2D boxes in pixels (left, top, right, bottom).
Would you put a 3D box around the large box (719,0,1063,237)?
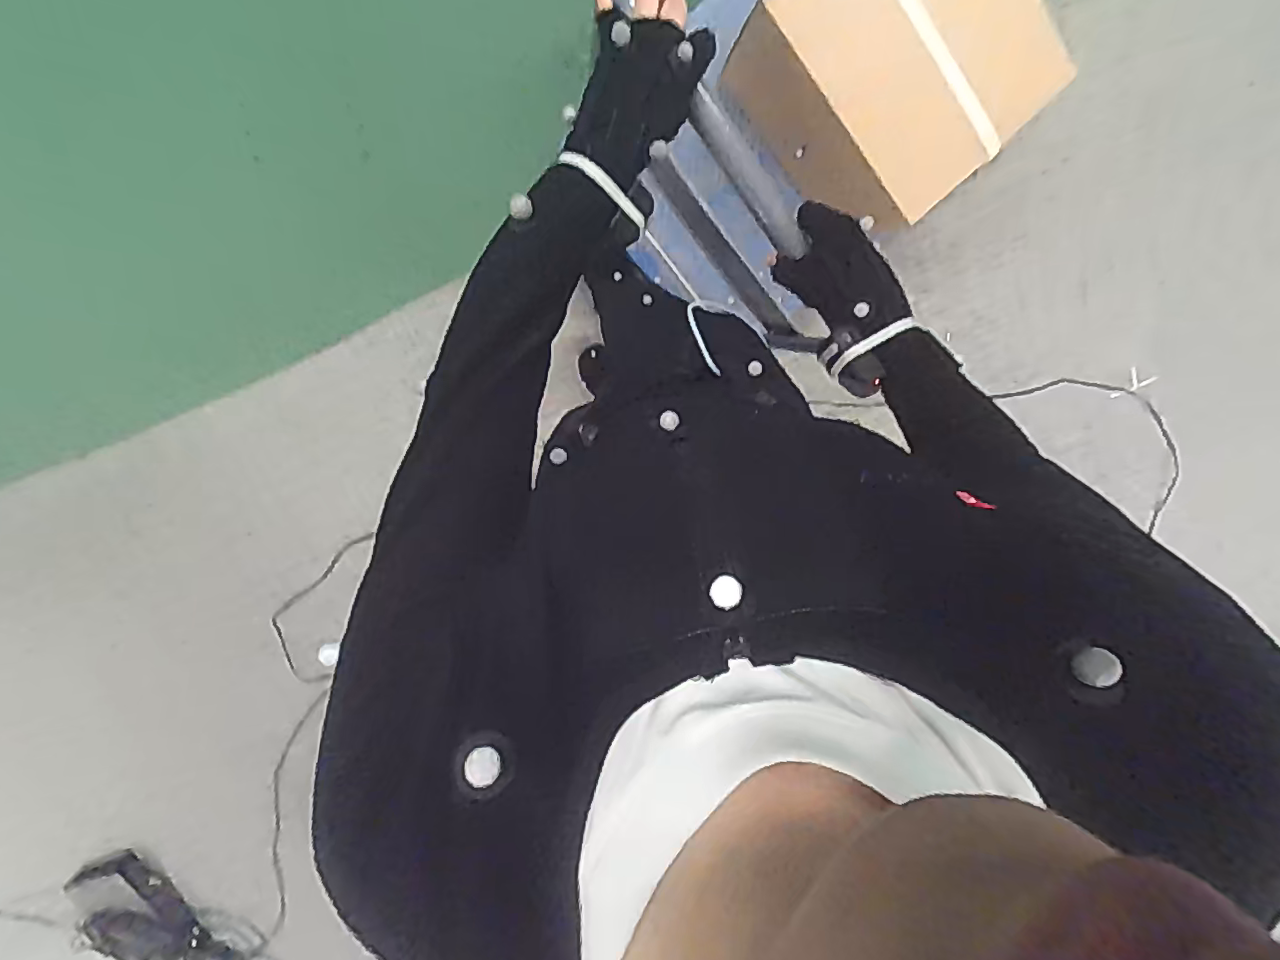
[{"bbox_3d":[0.401,-0.703,0.947,0.320,0.320,0.408,-42,106,10],"label":"large box"}]
